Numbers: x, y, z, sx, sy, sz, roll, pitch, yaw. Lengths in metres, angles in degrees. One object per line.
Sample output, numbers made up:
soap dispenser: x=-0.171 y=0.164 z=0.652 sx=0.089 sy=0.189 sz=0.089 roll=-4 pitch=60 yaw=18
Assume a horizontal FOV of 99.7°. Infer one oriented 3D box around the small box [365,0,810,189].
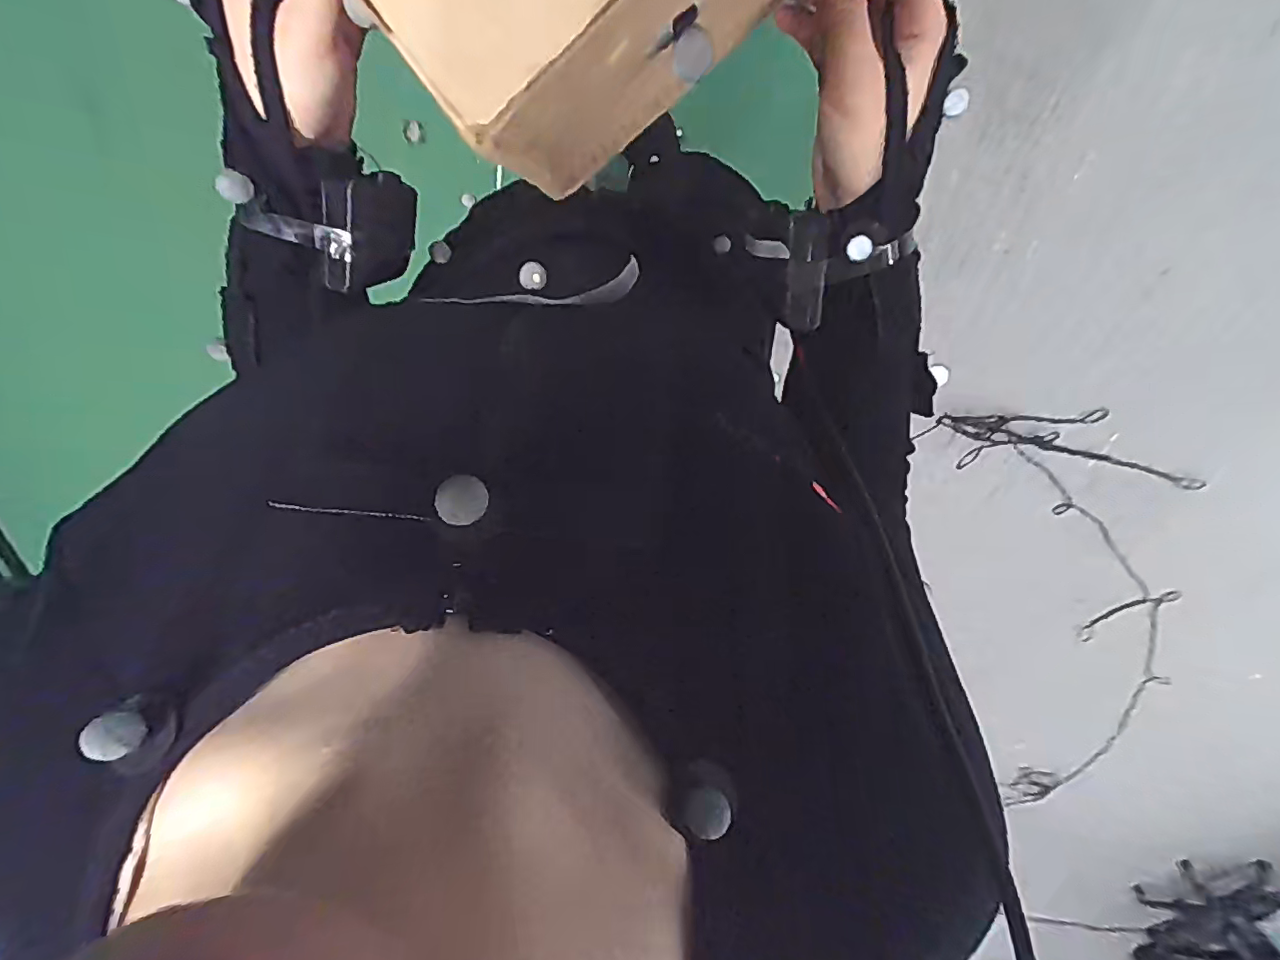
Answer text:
small box: x=-0.017 y=-0.221 z=0.168 sx=0.179 sy=0.176 sz=0.168 roll=-34 pitch=109 yaw=14
